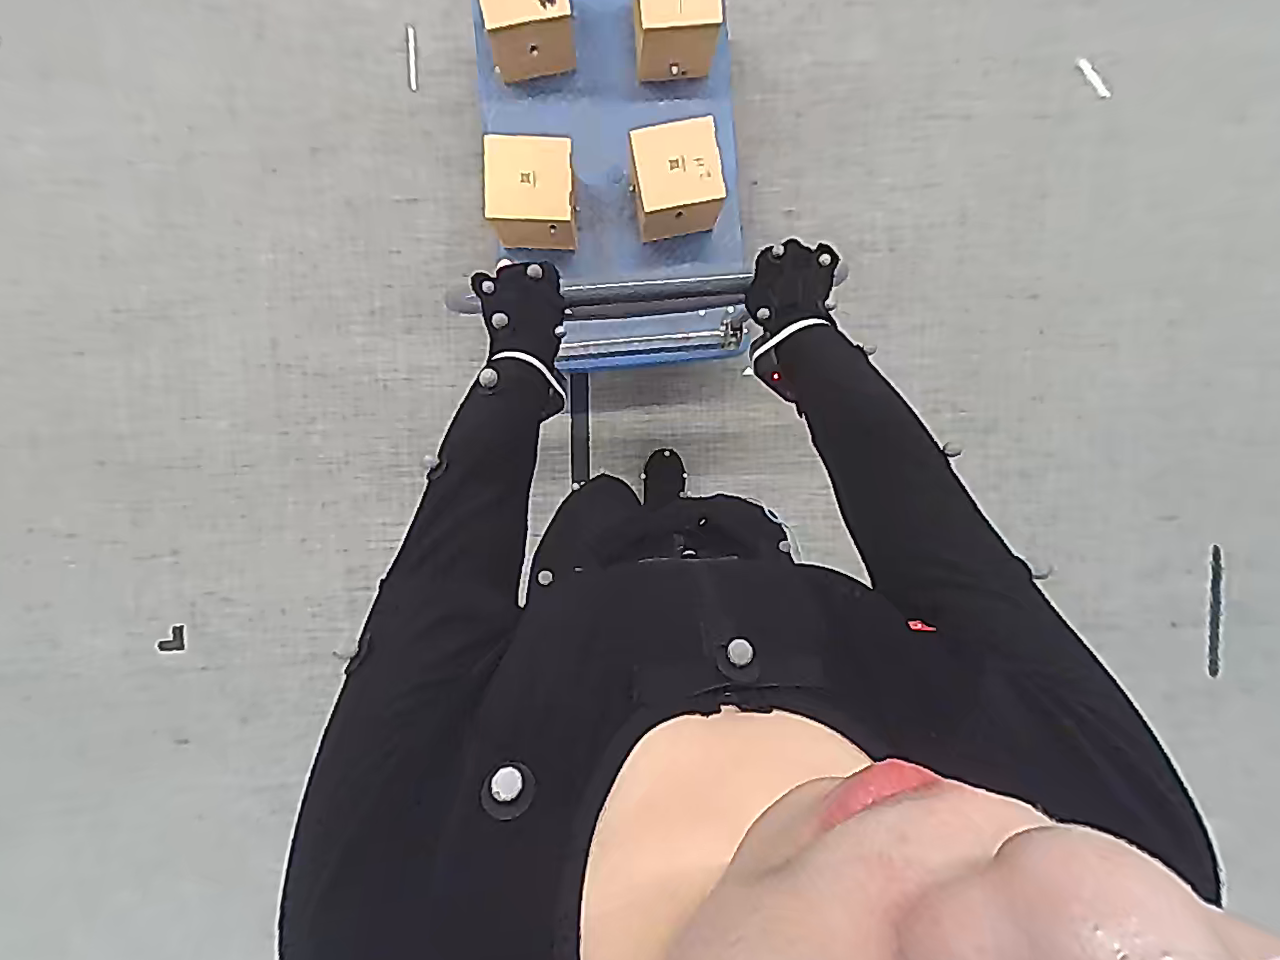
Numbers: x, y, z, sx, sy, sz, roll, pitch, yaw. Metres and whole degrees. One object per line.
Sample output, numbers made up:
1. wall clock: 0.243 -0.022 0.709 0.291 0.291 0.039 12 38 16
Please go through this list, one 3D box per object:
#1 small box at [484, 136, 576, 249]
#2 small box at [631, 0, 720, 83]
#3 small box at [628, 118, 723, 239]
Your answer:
1. small box: -0.233 -0.618 1.180 0.179 0.176 0.168 0 94 -3
2. small box: 0.071 -1.002 1.162 0.168 0.176 0.179 -6 95 -2
3. small box: 0.072 -0.650 1.188 0.179 0.176 0.168 -11 95 -1
